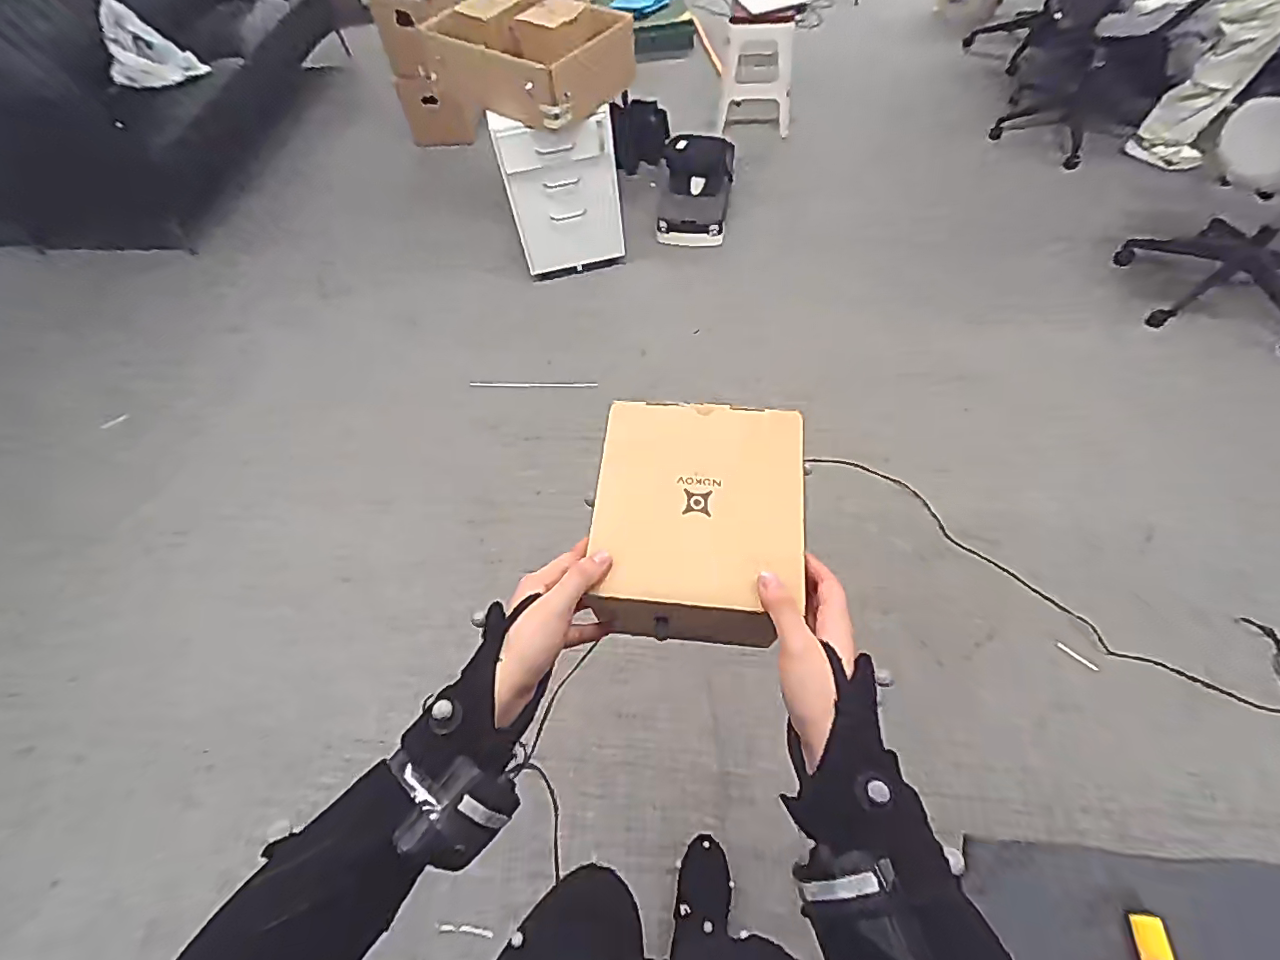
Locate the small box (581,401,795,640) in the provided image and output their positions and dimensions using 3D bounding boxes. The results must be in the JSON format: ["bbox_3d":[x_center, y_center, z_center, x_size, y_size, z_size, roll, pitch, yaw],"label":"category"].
[{"bbox_3d":[0.049,0.046,0.512,0.168,0.176,0.179,3,62,6],"label":"small box"}]
